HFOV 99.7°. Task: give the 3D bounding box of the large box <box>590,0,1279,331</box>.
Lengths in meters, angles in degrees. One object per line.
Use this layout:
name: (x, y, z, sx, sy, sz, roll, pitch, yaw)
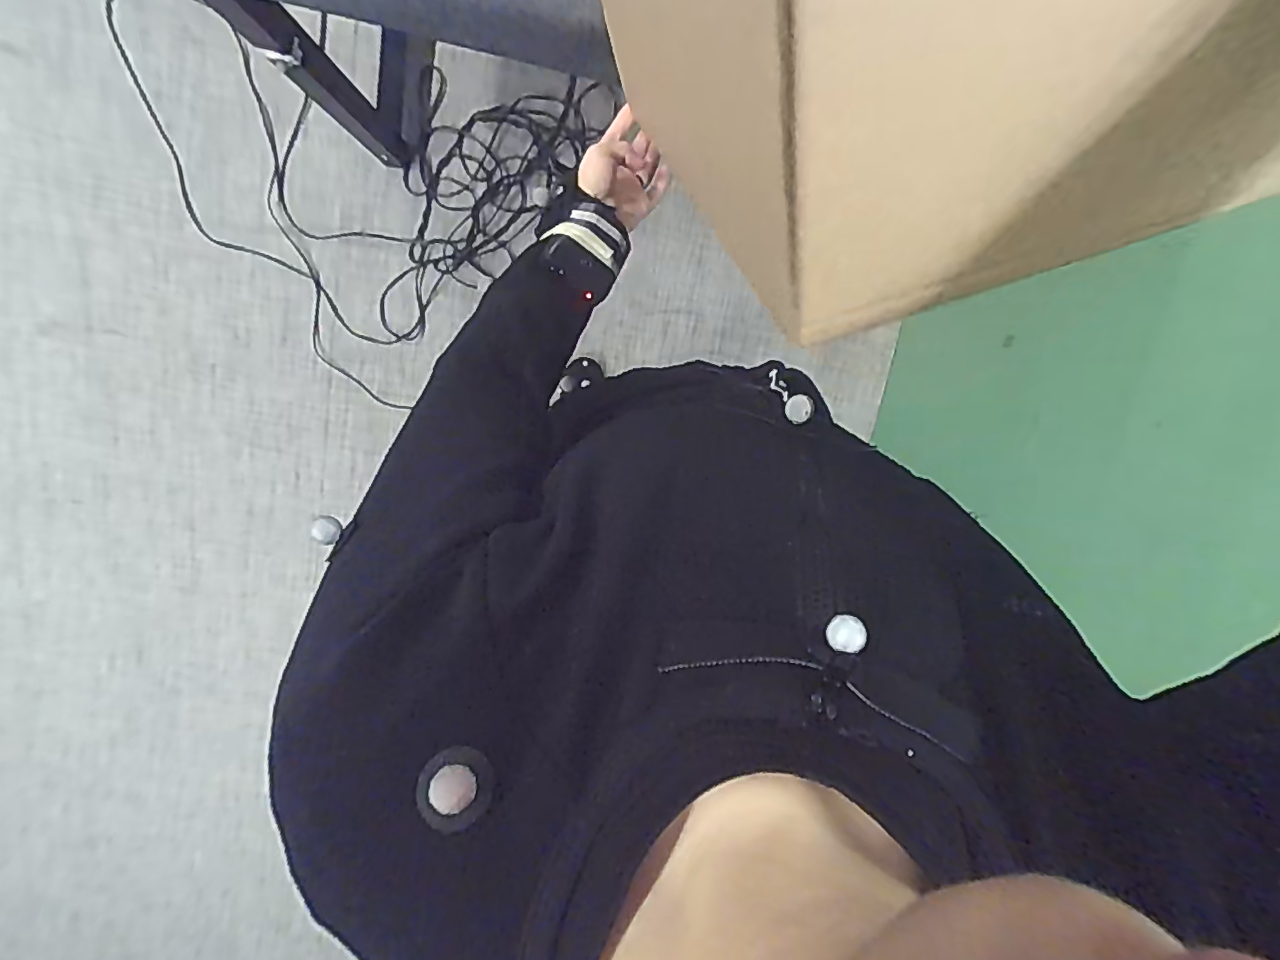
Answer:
large box: (0.134, -0.347, 0.256, 0.320, 0.408, 0.320, -20, 140, 2)
